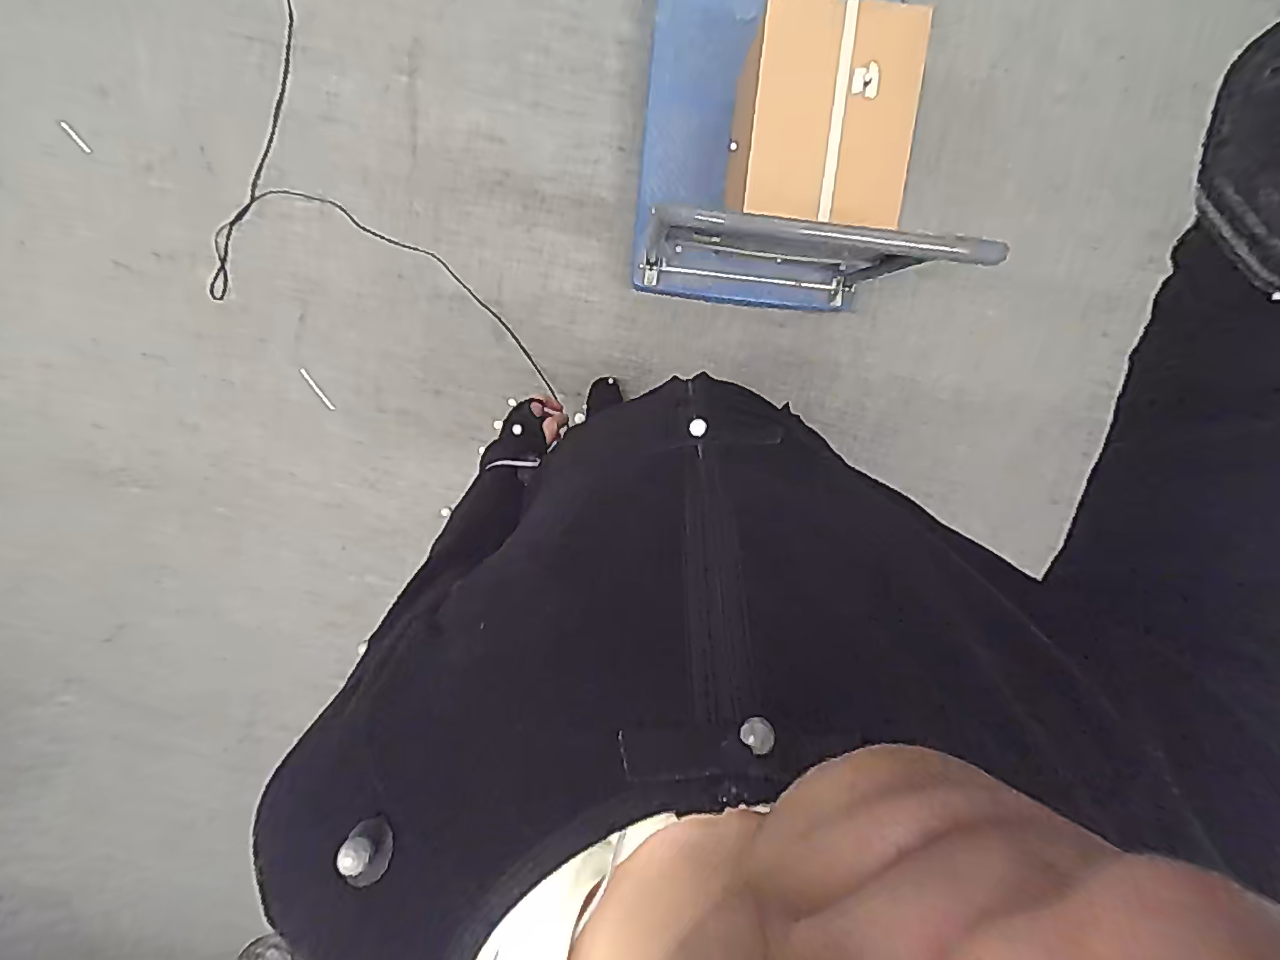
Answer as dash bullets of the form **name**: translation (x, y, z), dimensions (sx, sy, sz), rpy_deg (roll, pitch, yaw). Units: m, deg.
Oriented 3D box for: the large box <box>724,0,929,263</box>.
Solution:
- **large box**: translation (0.374, -0.724, 1.182), dimensions (0.320, 0.320, 0.408), rpy_deg (5, 100, -2)
